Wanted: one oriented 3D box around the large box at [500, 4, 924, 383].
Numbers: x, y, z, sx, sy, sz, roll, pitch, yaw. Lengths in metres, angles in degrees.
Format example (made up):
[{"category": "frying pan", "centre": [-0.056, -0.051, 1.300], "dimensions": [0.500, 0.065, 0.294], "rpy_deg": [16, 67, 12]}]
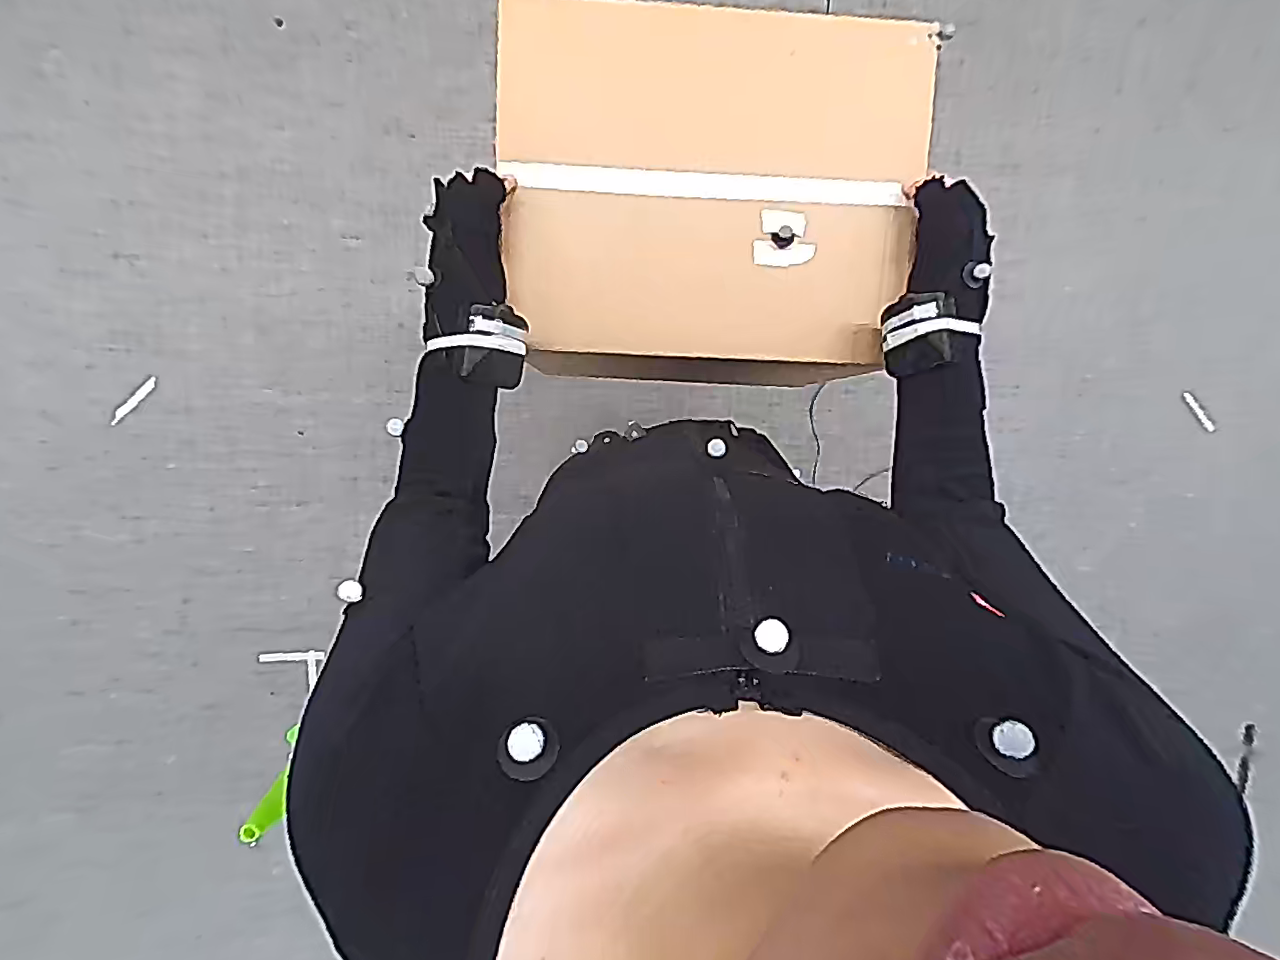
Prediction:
[{"category": "large box", "centre": [0.059, -0.291, 0.661], "dimensions": [0.408, 0.320, 0.320], "rpy_deg": [2, 96, -3]}]
